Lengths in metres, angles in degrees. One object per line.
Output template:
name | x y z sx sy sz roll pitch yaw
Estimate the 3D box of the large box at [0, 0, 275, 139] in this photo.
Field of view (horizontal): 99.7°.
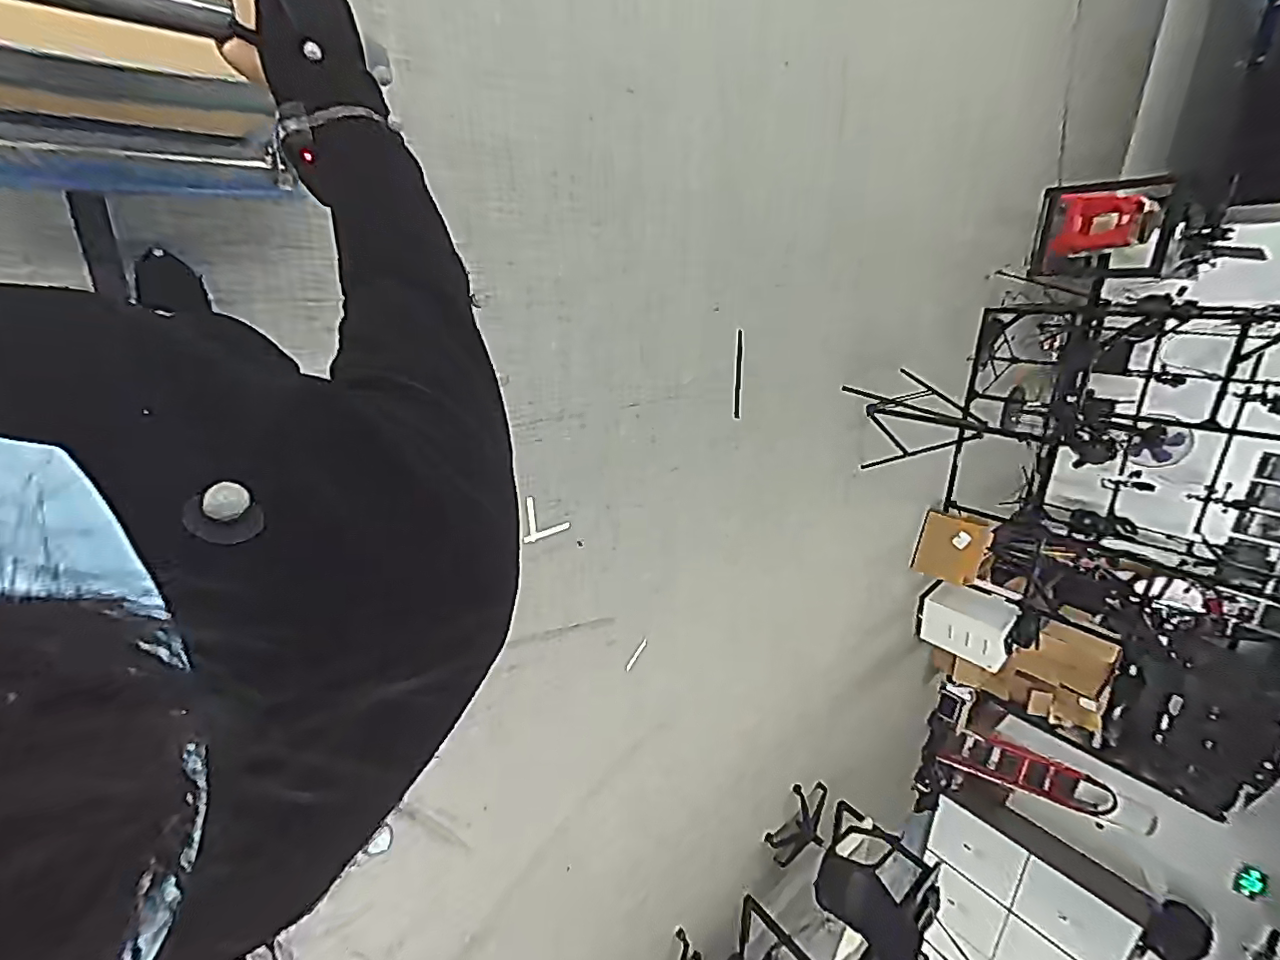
large box | -0.755 -0.656 0.680 0.408 0.320 0.320 -18 117 -37
